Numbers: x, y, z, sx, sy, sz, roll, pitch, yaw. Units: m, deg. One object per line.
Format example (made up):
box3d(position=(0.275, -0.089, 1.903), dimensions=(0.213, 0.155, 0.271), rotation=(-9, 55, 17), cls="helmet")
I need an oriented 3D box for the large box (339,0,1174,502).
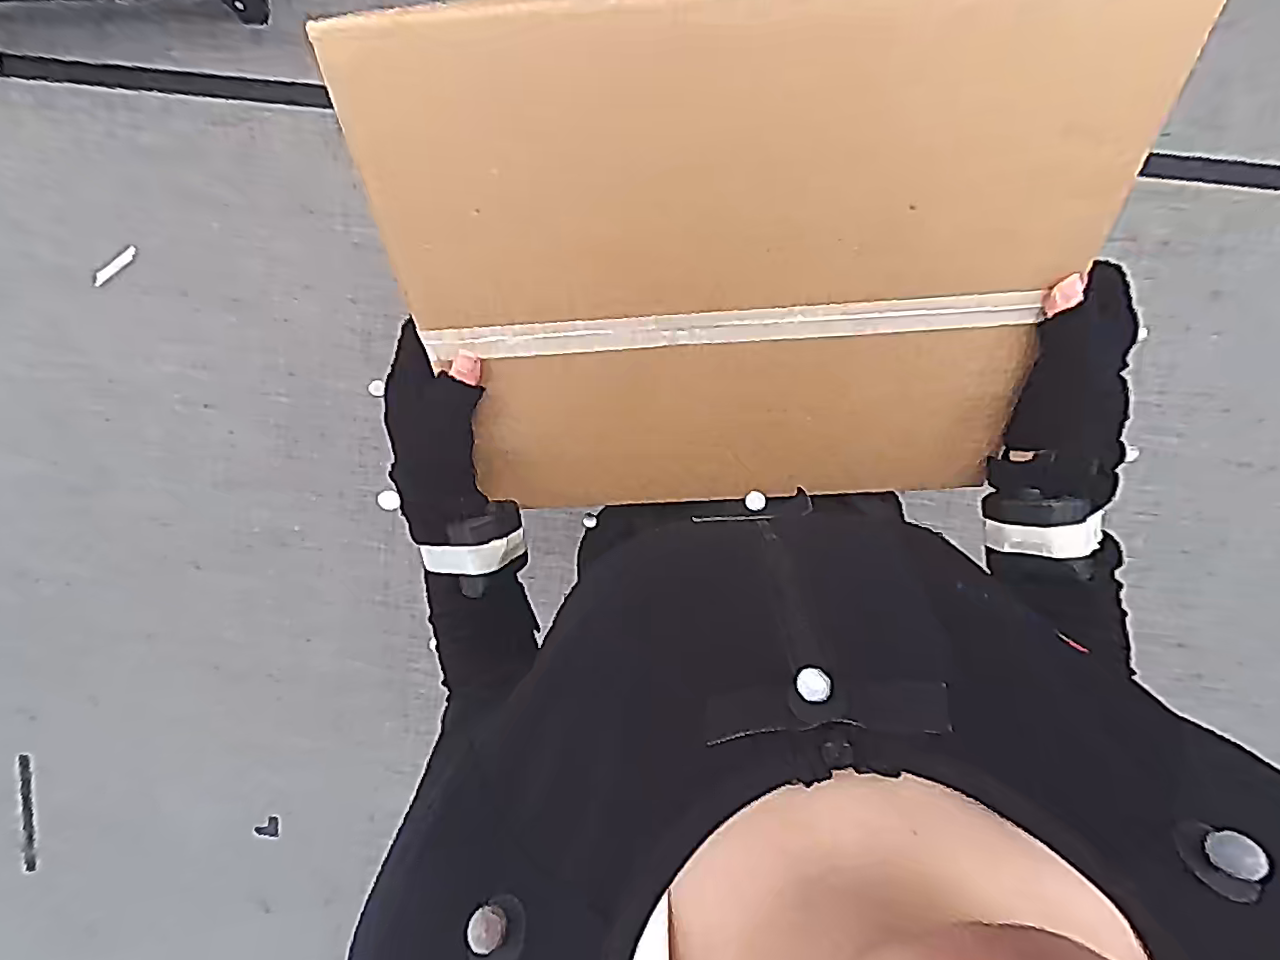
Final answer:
box3d(position=(0.059, -0.206, 0.463), dimensions=(0.408, 0.320, 0.320), rotation=(-3, 133, 2), cls="large box")
